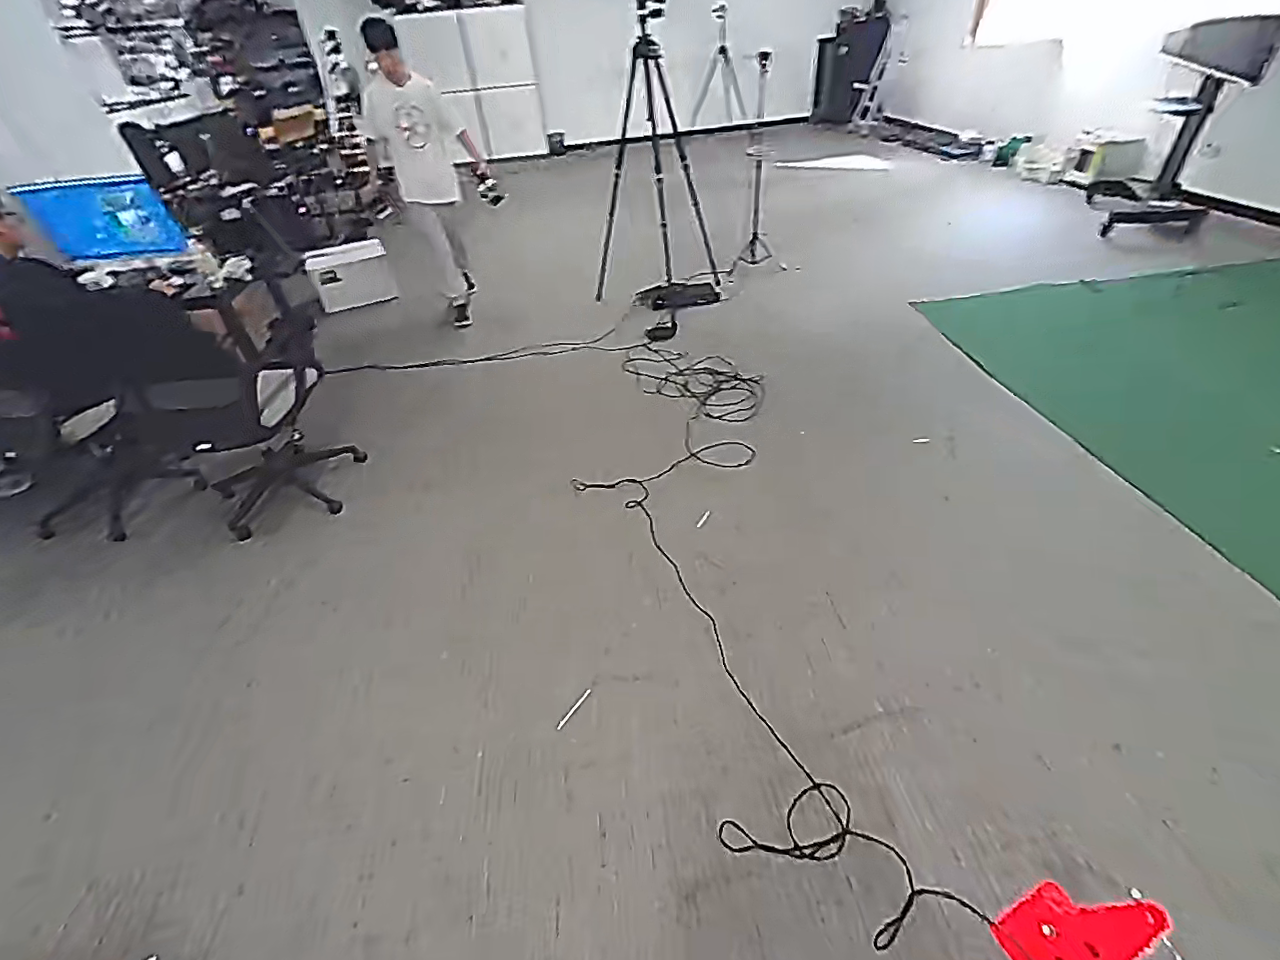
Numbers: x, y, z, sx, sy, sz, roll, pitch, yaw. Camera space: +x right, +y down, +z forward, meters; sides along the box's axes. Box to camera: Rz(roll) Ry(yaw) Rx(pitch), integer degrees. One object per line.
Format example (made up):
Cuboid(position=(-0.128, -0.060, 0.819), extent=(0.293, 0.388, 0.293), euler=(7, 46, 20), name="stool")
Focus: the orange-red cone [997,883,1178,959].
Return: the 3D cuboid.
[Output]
Cuboid(position=(0.861, 0.838, 0.991), extent=(0.199, 0.360, 0.198), euler=(-19, 43, -18), name="orange-red cone")
